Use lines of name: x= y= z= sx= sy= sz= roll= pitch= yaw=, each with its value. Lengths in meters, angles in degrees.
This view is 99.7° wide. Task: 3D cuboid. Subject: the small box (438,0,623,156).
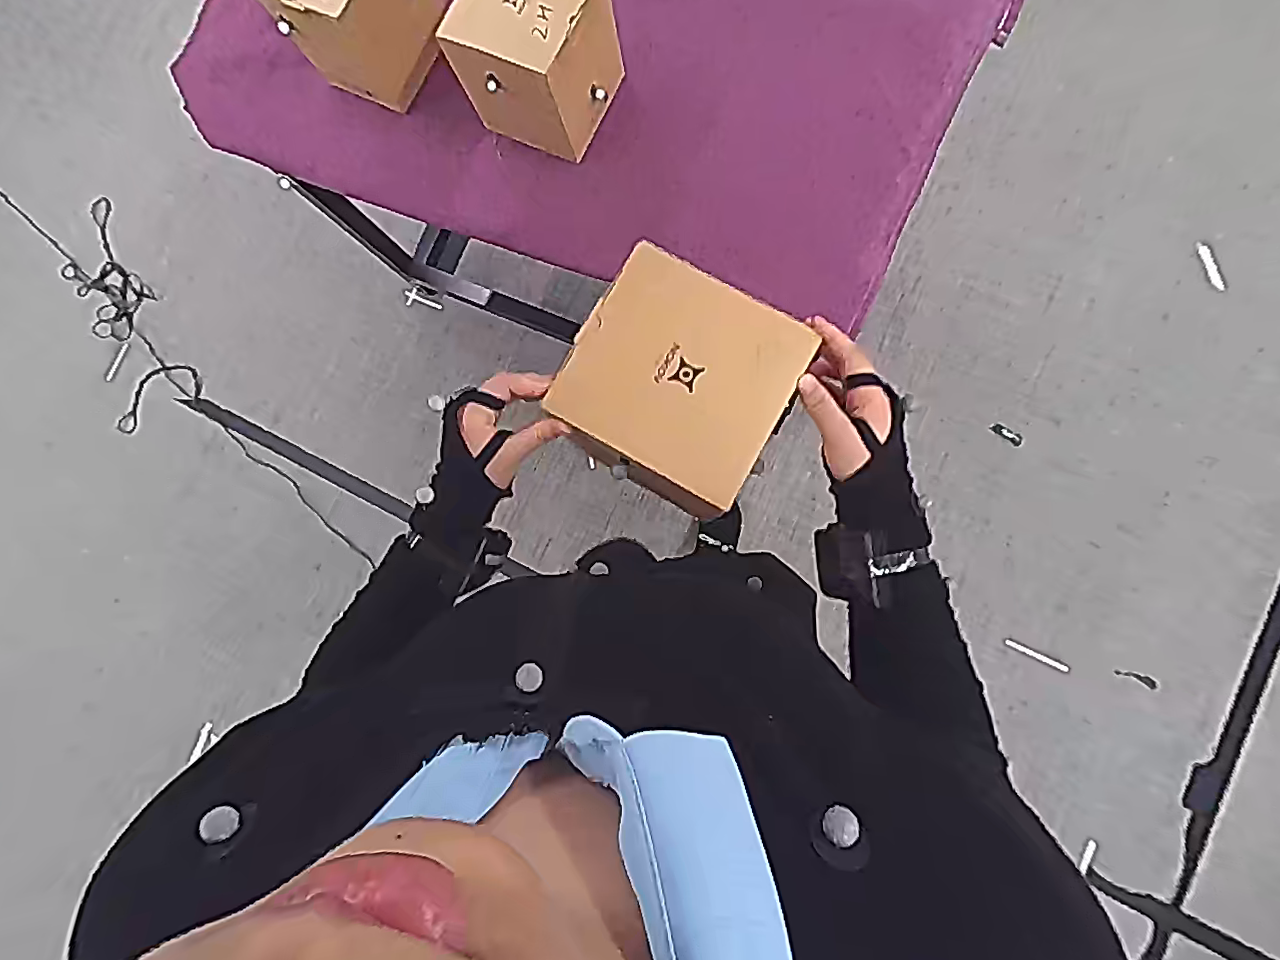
small box: x=-0.144 y=-0.610 z=0.777 sx=0.179 sy=0.176 sz=0.168 roll=27 pitch=88 yaw=9
